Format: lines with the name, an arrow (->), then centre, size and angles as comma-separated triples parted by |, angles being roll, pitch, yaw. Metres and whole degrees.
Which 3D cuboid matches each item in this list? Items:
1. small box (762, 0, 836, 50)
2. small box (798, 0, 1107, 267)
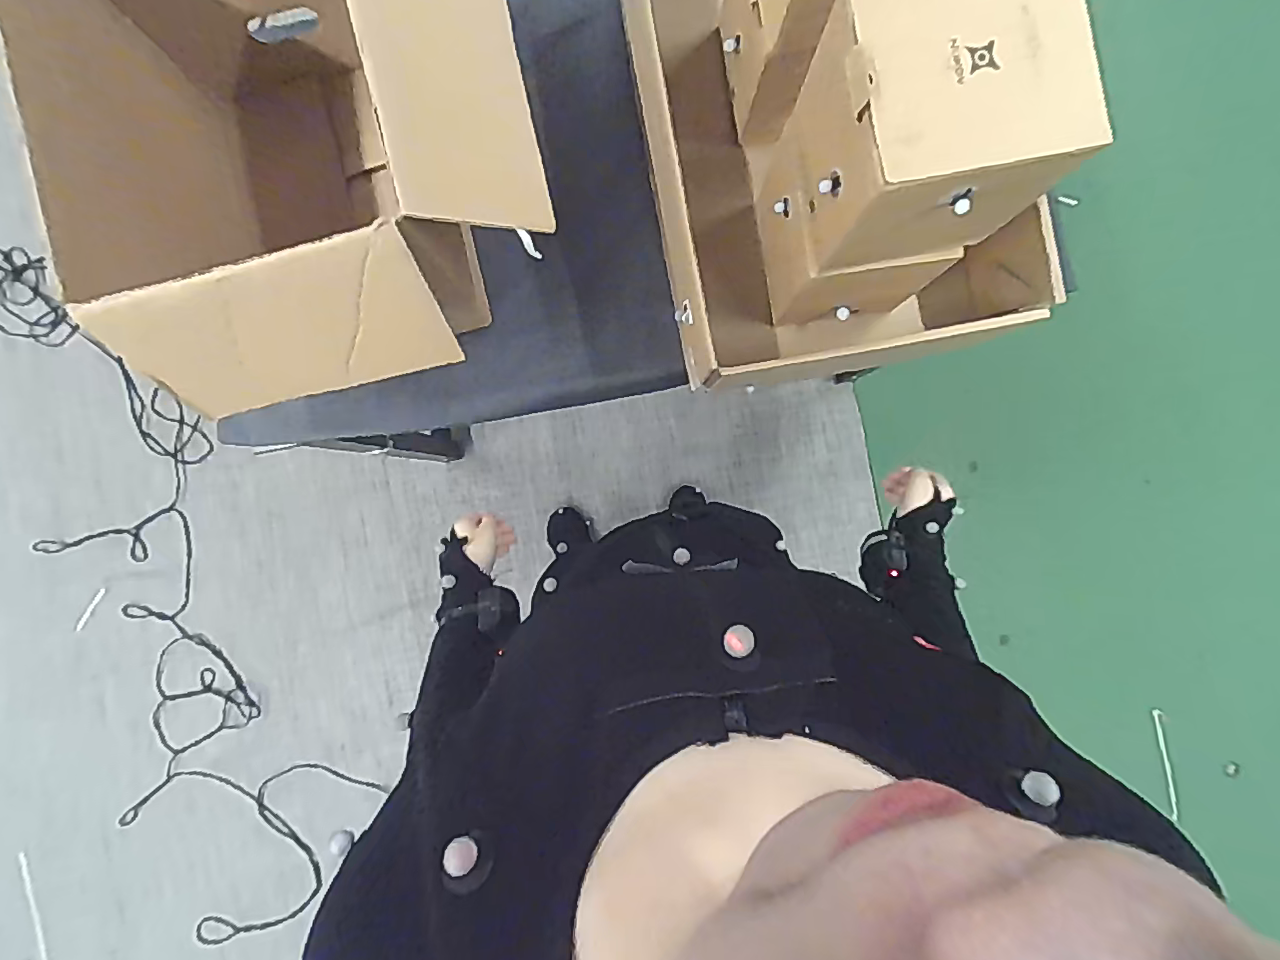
small box -> 0.205, -0.542, 0.493 | 0.179, 0.176, 0.168 | -11, 91, 0
small box -> 0.254, -0.313, 0.489 | 0.179, 0.176, 0.168 | -10, 89, 0
